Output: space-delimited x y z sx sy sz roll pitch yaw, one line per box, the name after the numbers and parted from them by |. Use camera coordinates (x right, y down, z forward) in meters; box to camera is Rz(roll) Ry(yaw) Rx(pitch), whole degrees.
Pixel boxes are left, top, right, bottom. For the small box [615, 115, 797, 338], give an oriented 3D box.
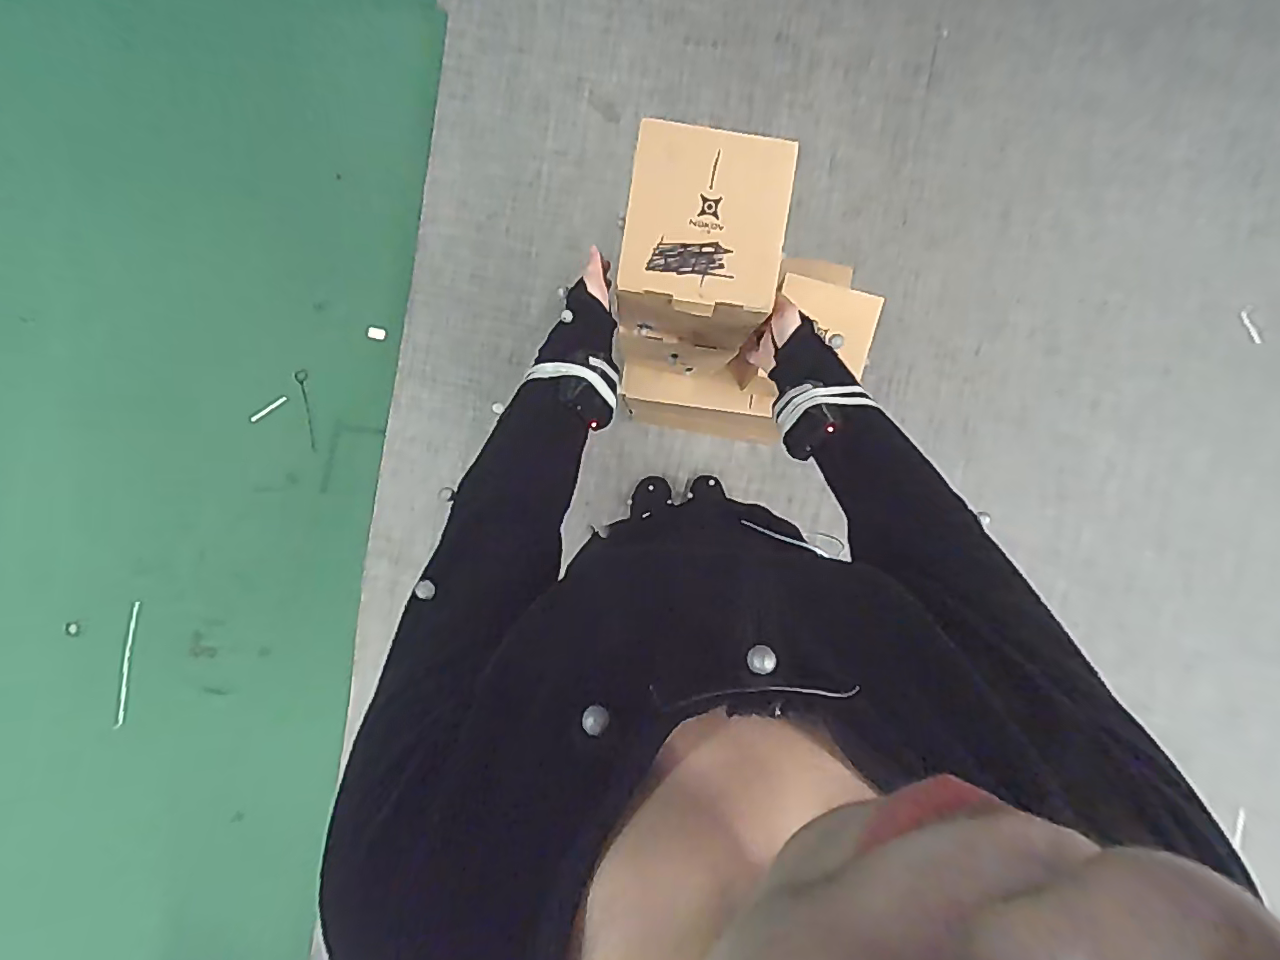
0.067 -0.275 0.629 0.168 0.176 0.179 8 92 -1 | small box

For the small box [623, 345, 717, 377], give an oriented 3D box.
0.068 -0.289 0.957 0.168 0.176 0.179 10 92 -1 | small box

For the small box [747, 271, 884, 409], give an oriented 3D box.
0.296 -0.236 0.950 0.168 0.176 0.179 15 92 3 | small box

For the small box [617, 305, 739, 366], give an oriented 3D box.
0.063 -0.273 0.794 0.168 0.176 0.179 8 93 -1 | small box
